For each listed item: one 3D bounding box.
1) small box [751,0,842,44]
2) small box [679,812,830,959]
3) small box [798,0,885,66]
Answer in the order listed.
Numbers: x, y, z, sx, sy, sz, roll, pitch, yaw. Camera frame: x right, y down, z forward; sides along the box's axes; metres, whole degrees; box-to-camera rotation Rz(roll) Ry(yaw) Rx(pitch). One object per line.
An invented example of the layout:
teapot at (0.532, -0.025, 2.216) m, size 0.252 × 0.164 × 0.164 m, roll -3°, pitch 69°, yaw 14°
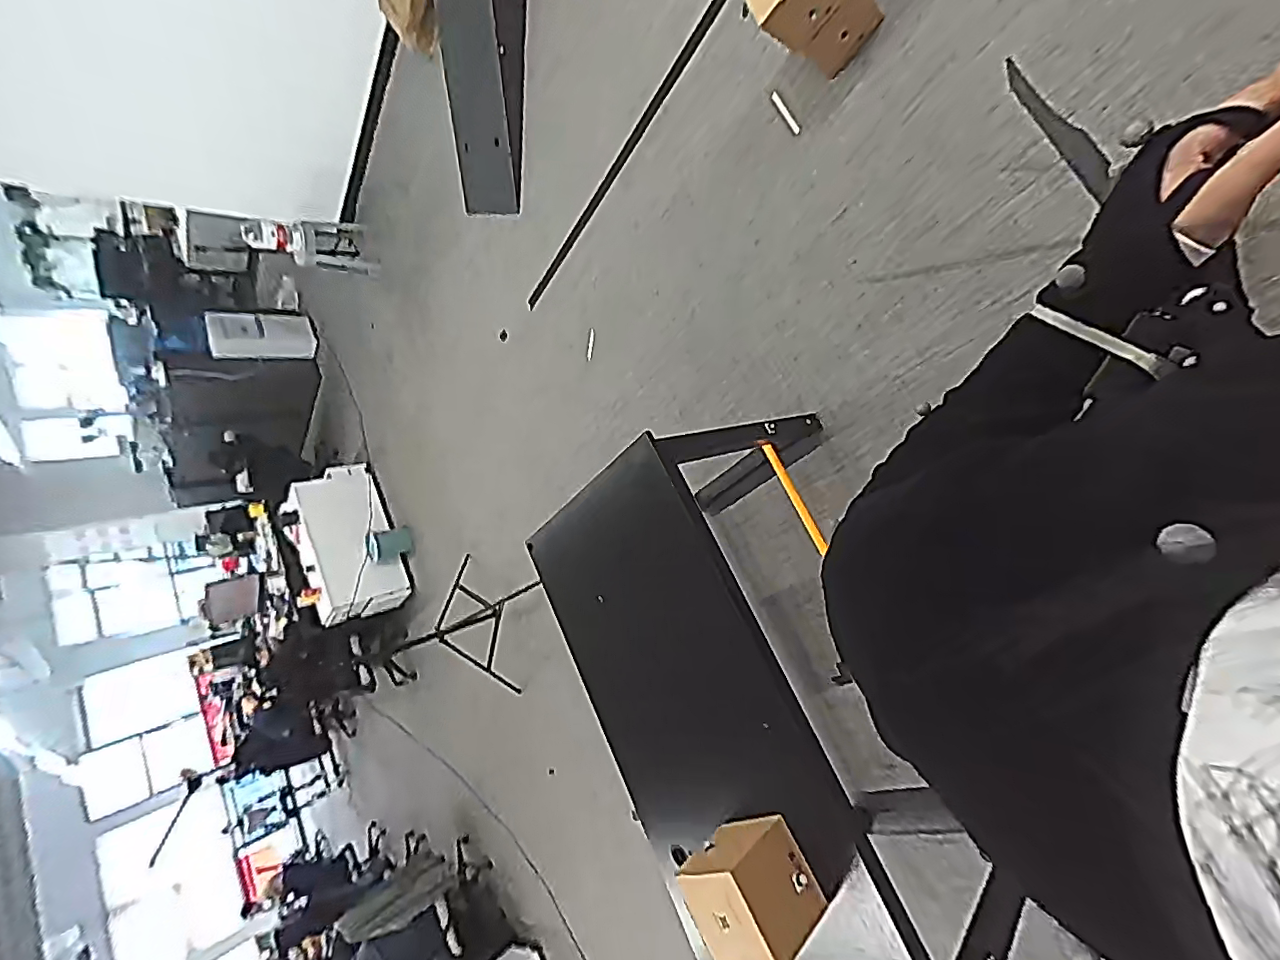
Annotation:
small box at (0.347, -1.143, 1.217) m, size 0.168 × 0.176 × 0.179 m, roll -32°, pitch 76°, yaw 46°
small box at (0.211, 0.748, 0.996) m, size 0.179 × 0.176 × 0.168 m, roll -46°, pitch 68°, yaw 41°
small box at (0.465, -1.168, 1.331) m, size 0.168 × 0.176 × 0.179 m, roll -40°, pitch 72°, yaw 44°
